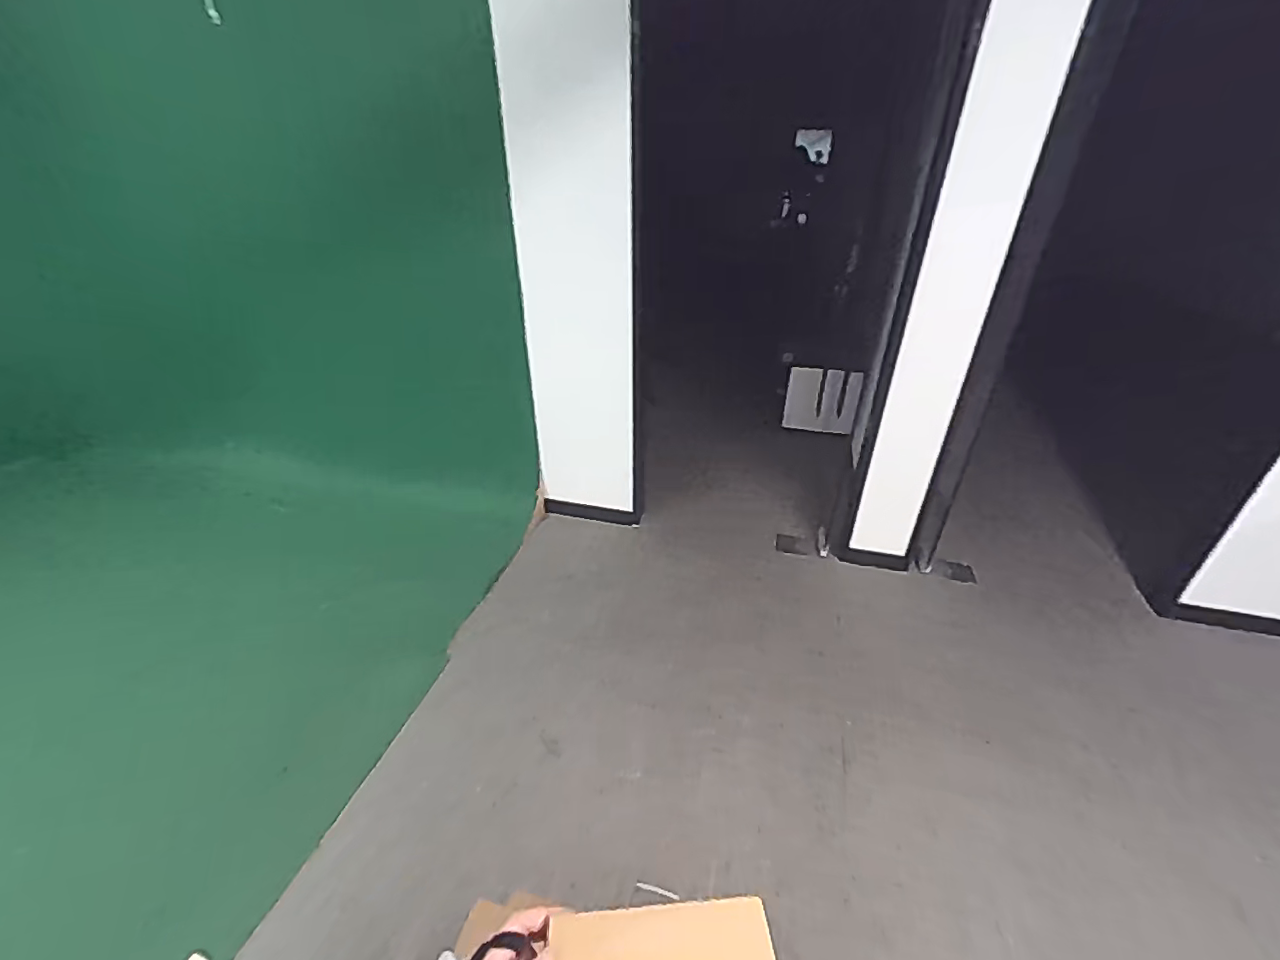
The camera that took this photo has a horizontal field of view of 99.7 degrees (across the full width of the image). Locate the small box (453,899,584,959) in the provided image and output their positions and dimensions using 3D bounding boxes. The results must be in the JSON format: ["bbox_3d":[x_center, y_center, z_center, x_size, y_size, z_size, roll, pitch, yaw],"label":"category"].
[{"bbox_3d":[-0.178,0.730,0.735,0.168,0.176,0.179,11,34,14],"label":"small box"}]
